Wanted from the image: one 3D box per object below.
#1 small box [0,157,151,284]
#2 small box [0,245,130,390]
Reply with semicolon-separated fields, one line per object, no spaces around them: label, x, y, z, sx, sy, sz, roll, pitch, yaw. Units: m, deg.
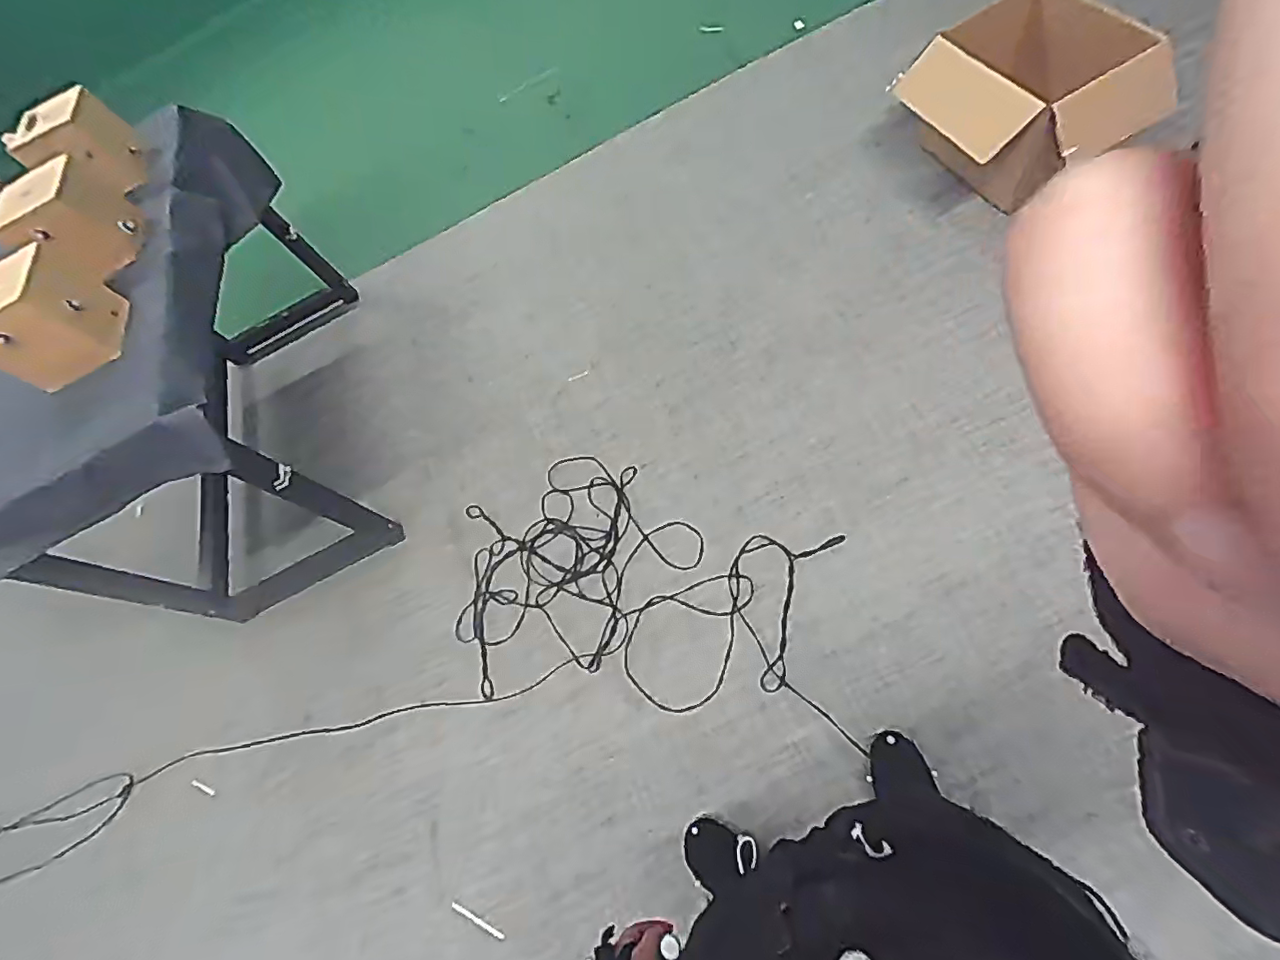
small box;-1.245;-0.557;1.194;0.179;0.176;0.168;-24;62;4
small box;-1.149;-0.307;1.047;0.179;0.176;0.168;-25;61;5
